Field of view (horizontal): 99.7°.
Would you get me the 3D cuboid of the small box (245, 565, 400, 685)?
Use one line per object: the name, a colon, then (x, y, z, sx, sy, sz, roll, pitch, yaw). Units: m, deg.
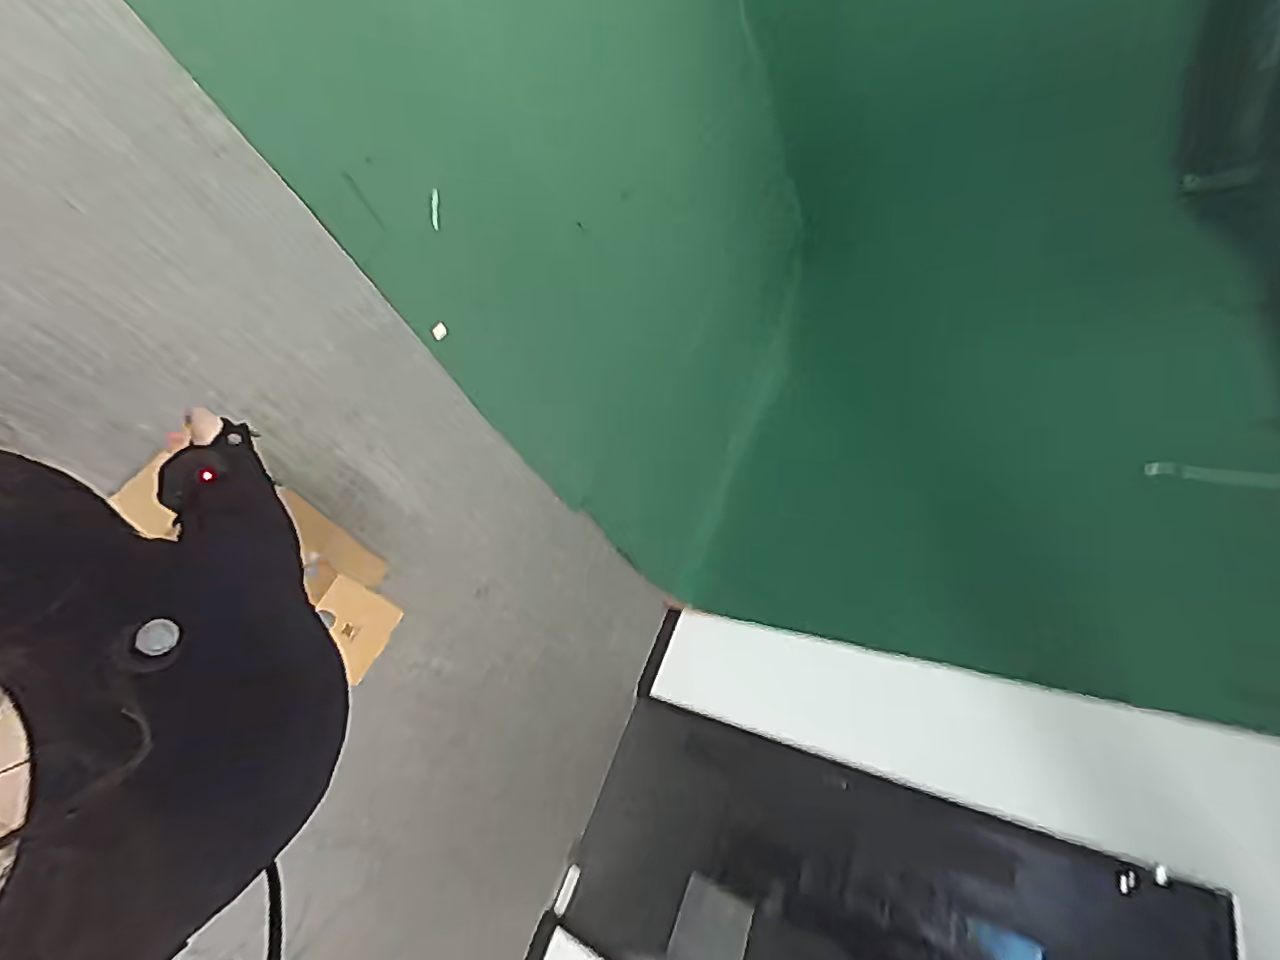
small box: (-0.642, 0.288, 1.098, 0.179, 0.176, 0.168, 54, 51, -43)
